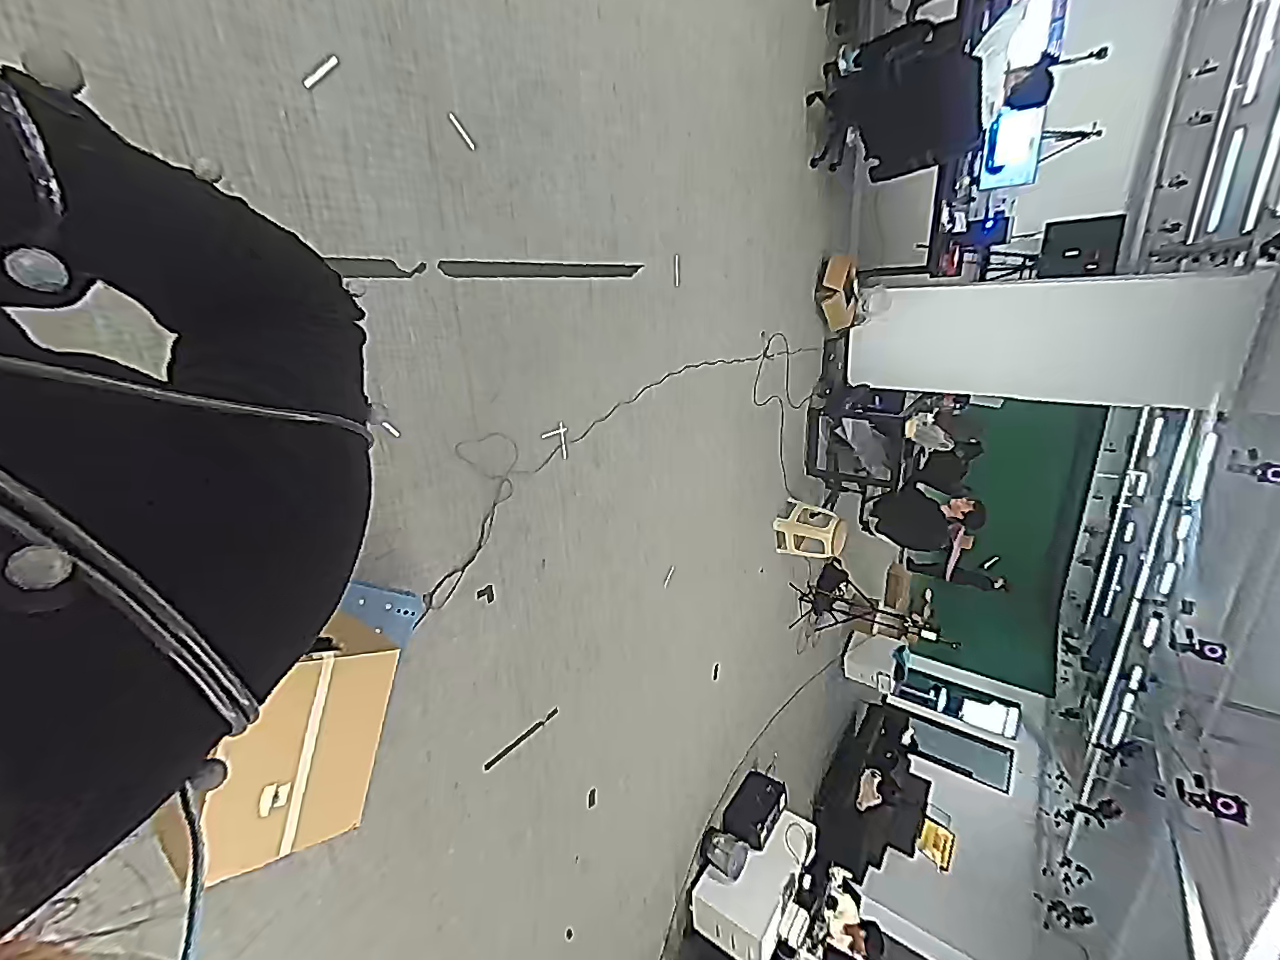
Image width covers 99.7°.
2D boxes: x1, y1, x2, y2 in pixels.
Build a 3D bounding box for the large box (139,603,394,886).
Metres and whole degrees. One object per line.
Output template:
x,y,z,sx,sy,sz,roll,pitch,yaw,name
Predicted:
-0.783,0.507,1.146,0.320,0.320,0.408,14,89,-54,large box
